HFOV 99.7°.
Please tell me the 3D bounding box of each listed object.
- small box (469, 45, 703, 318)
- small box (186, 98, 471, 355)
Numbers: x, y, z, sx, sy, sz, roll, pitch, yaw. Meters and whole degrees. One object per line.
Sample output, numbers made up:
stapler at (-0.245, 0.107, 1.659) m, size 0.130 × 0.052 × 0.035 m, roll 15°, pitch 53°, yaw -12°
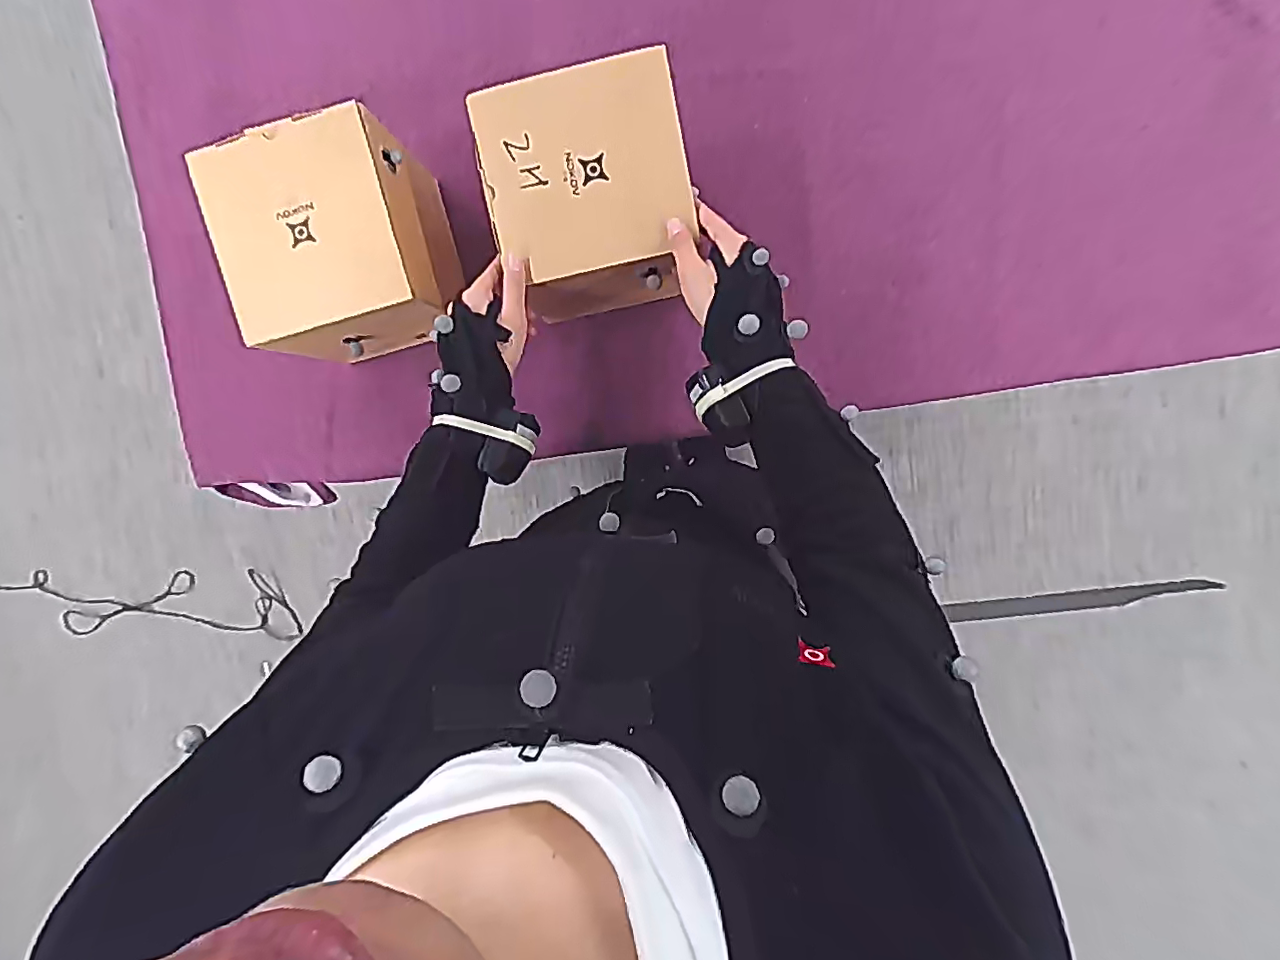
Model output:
small box at (-0.042, -0.272, 0.536) m, size 0.179 × 0.176 × 0.168 m, roll -11°, pitch 95°, yaw 4°
small box at (-0.295, -0.235, 0.556) m, size 0.168 × 0.176 × 0.179 m, roll -15°, pitch 95°, yaw 4°
